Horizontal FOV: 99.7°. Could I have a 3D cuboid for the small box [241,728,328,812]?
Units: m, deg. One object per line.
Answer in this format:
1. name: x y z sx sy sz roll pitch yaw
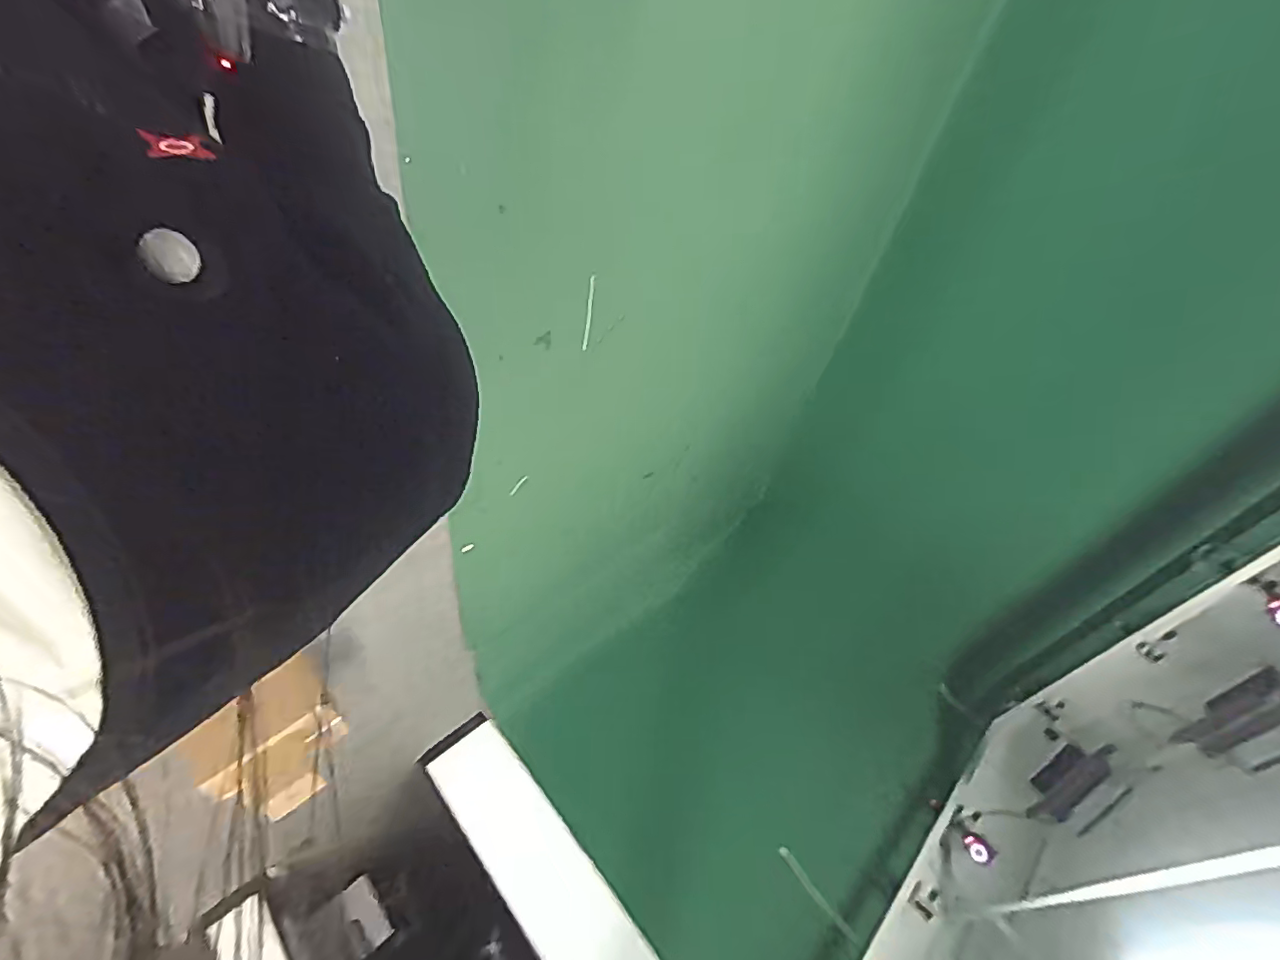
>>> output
1. small box: -1.223 0.993 1.863 0.179 0.176 0.168 -31 148 -29
